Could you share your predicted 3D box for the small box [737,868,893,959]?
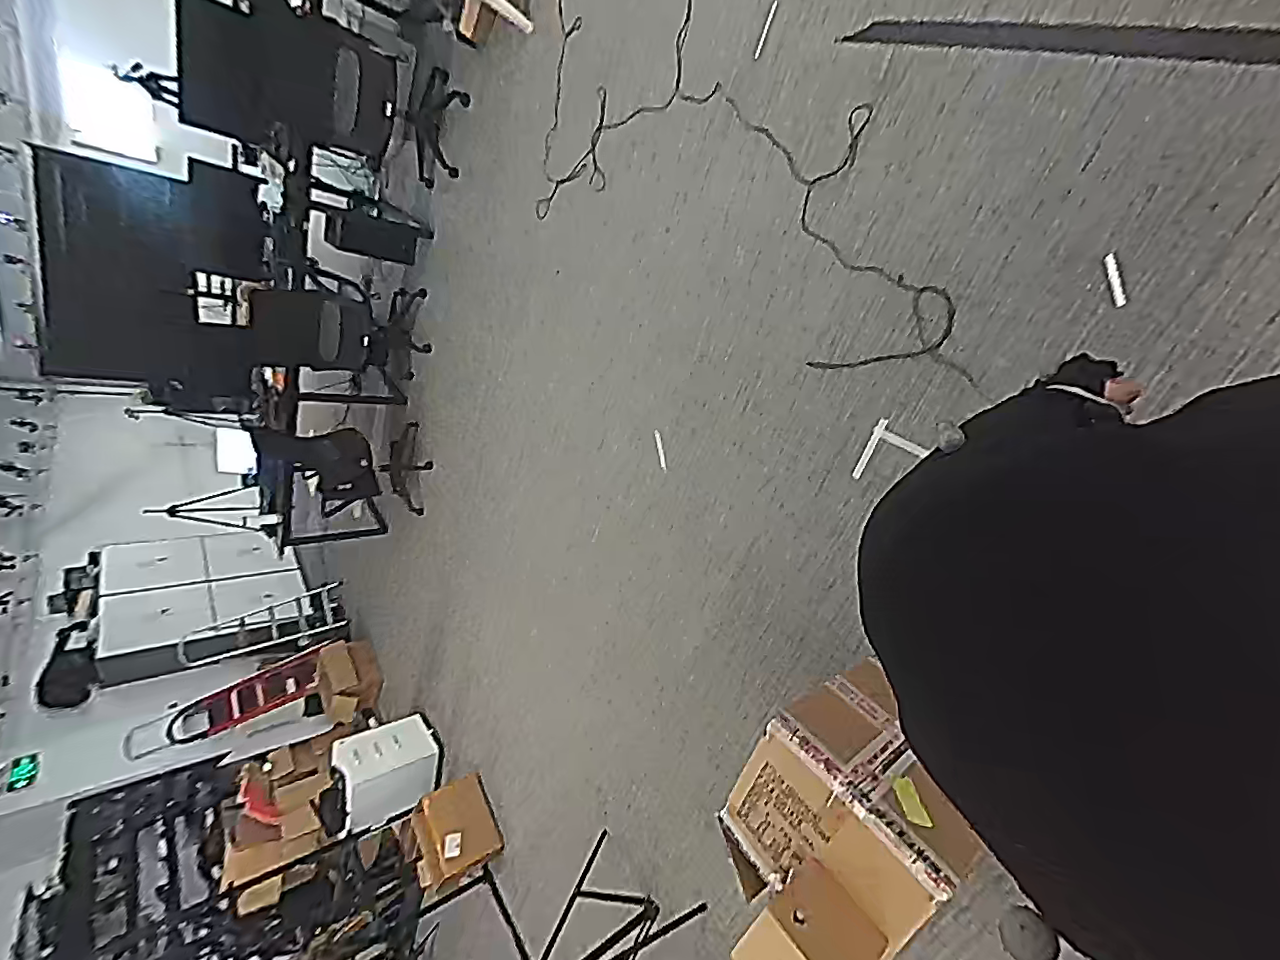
[{"bbox_3d":[0.318,0.854,0.983,0.179,0.176,0.168,40,120,37],"label":"small box"}]
